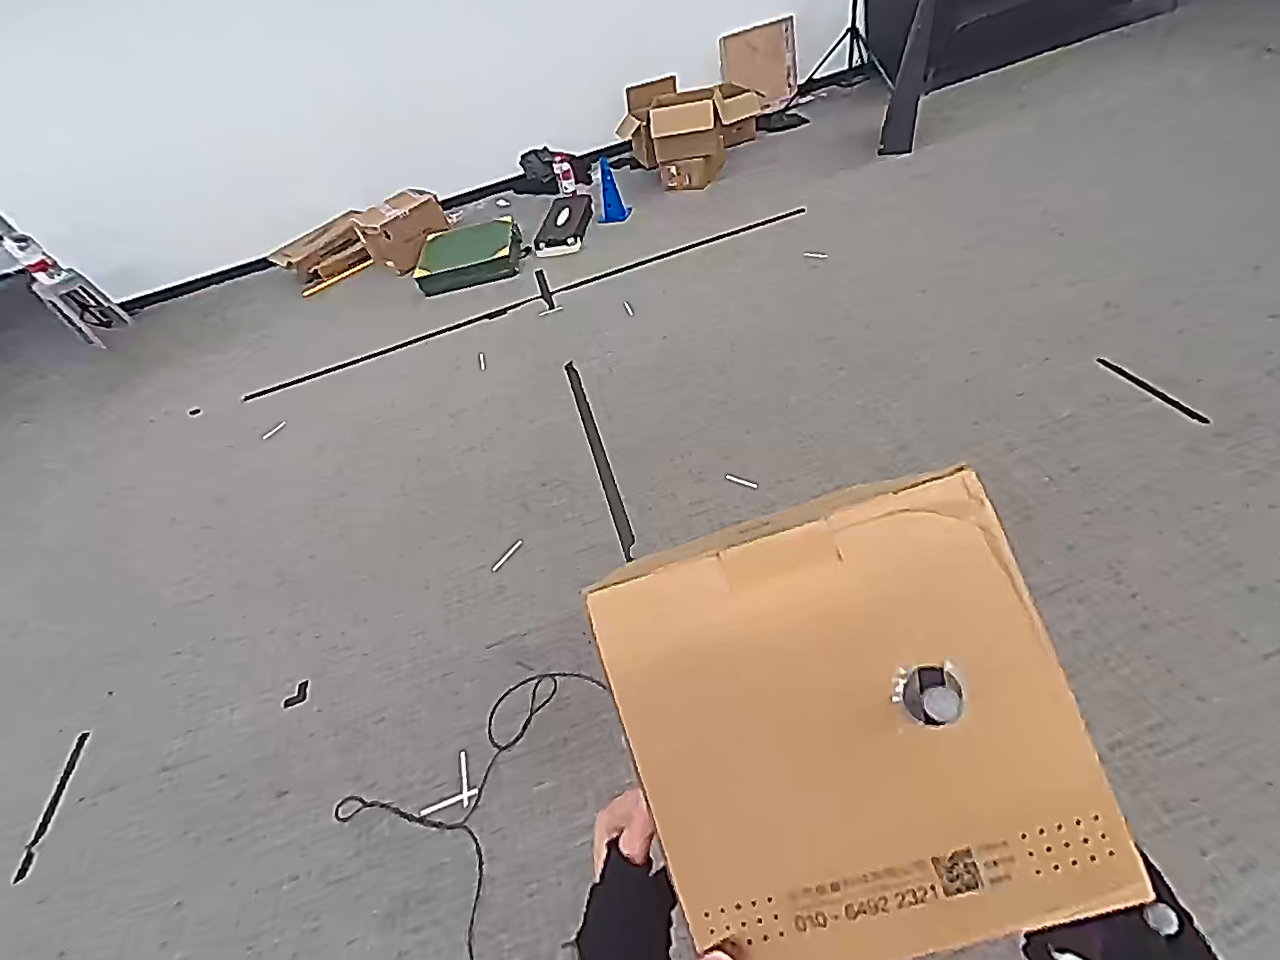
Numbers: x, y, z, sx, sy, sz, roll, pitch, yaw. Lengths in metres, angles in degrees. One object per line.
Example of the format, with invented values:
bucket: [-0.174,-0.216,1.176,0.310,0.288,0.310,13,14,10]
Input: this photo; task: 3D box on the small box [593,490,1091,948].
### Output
small box: [0.093,0.115,0.305,0.168,0.179,0.176,-20,83,8]
